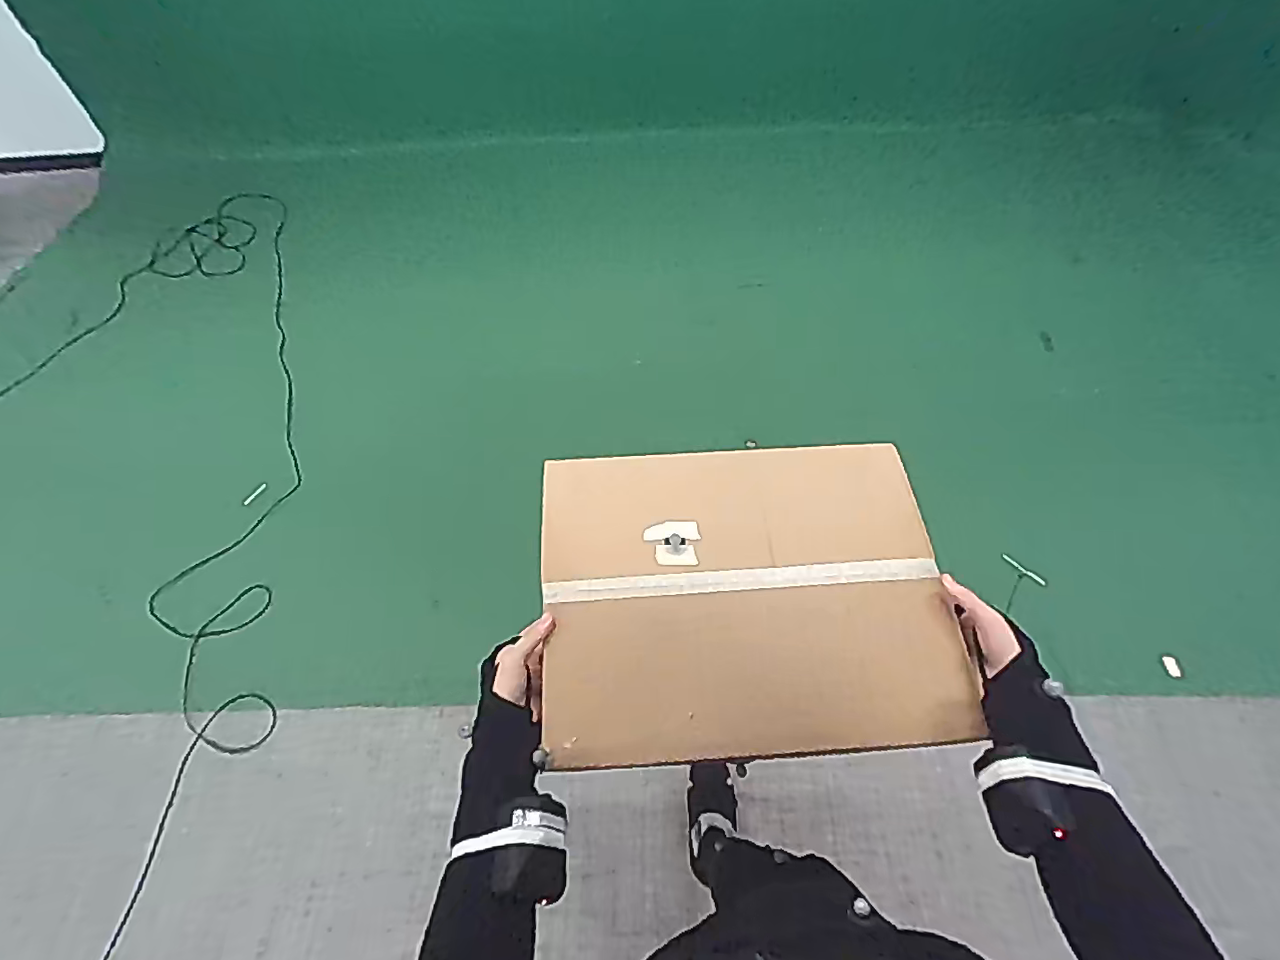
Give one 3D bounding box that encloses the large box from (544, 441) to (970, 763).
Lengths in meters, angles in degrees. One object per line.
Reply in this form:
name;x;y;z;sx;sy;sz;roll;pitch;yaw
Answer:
large box;0.103;0.172;0.694;0.408;0.320;0.320;-4;62;-1
